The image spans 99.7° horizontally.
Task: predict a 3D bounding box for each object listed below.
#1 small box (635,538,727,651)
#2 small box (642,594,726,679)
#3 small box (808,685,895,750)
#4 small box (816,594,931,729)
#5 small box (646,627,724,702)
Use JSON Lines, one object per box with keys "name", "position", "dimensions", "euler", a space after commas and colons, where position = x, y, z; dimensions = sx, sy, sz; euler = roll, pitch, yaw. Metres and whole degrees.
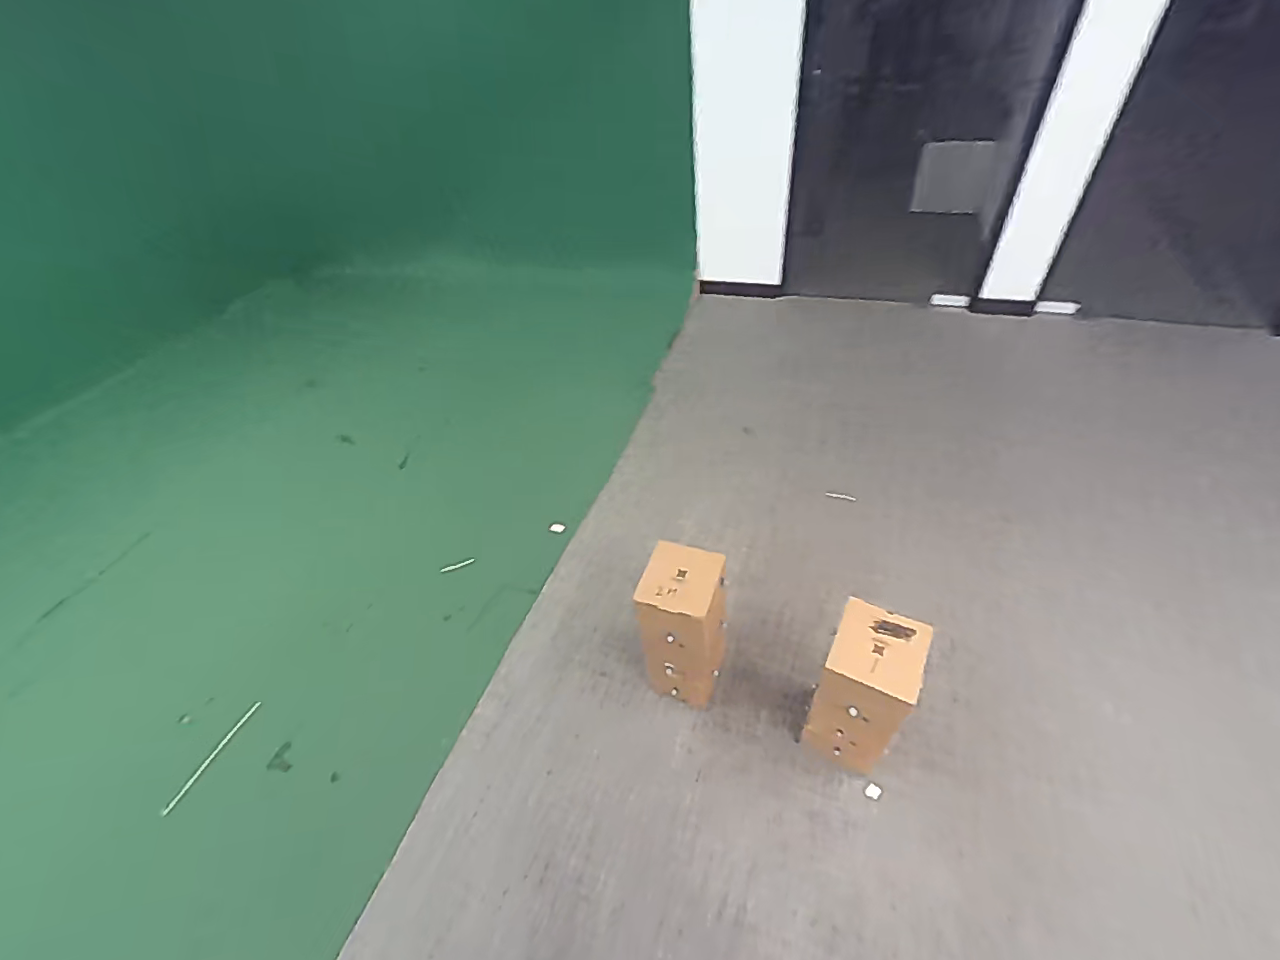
{"name": "small box", "position": [0.101, 0.267, 1.267], "dimensions": [0.168, 0.176, 0.179], "euler": [11, 49, 20]}
{"name": "small box", "position": [0.118, 0.378, 1.389], "dimensions": [0.168, 0.176, 0.179], "euler": [11, 50, 20]}
{"name": "small box", "position": [0.495, 0.479, 1.237], "dimensions": [0.168, 0.176, 0.179], "euler": [18, 52, 23]}
{"name": "small box", "position": [0.473, 0.373, 1.113], "dimensions": [0.168, 0.176, 0.179], "euler": [19, 54, 24]}
{"name": "small box", "position": [0.133, 0.487, 1.508], "dimensions": [0.168, 0.176, 0.179], "euler": [15, 51, 21]}
